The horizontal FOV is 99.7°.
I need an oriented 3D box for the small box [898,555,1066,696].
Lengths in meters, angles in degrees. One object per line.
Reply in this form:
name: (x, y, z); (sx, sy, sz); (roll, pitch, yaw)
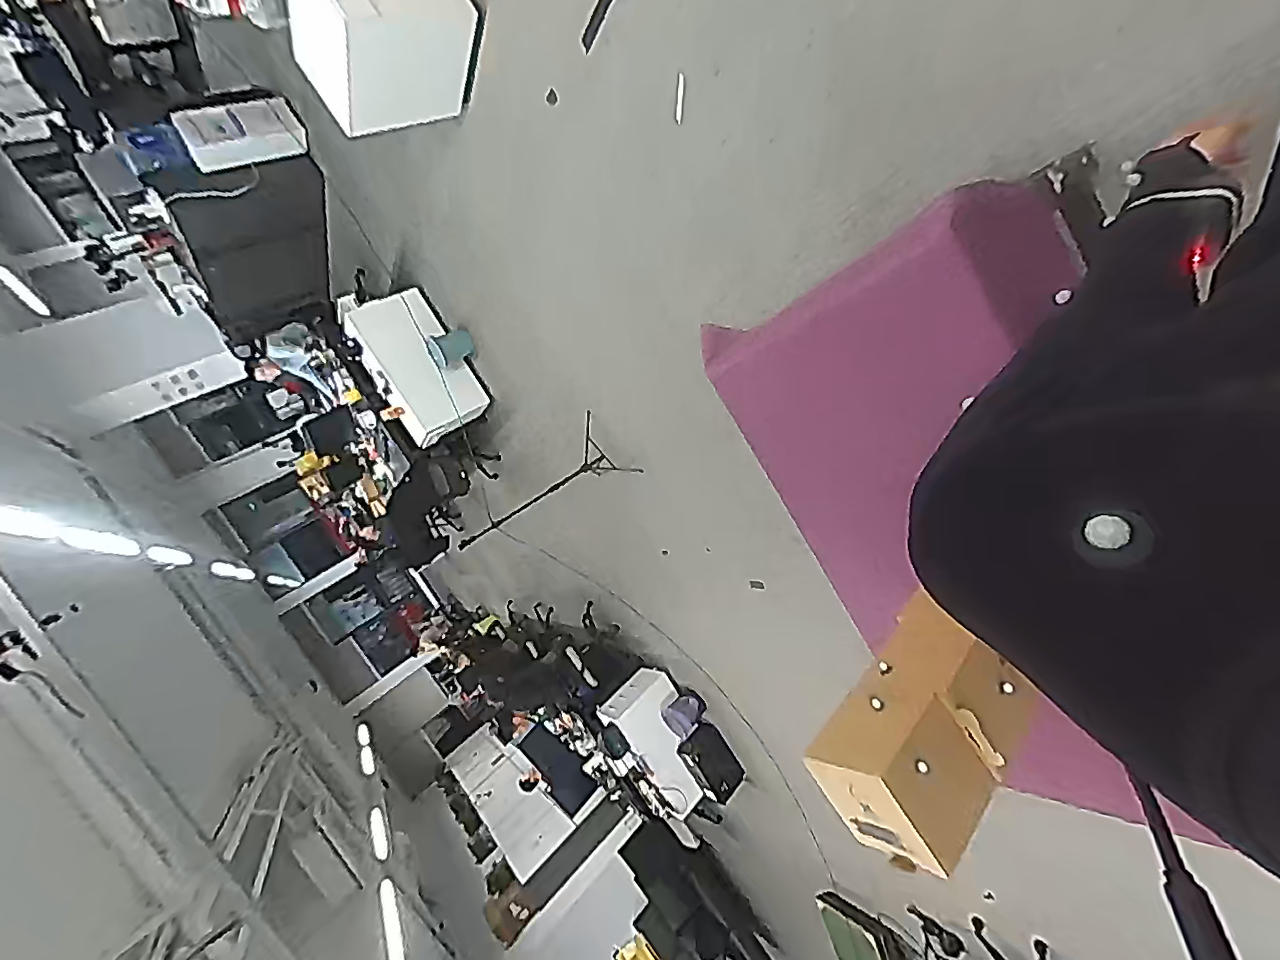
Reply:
small box: (0.623, 0.265, 0.985); (0.179, 0.176, 0.168); (53, 150, 3)

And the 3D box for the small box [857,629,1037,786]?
small box: (0.515, 0.368, 0.912); (0.168, 0.176, 0.179); (55, 150, -2)
